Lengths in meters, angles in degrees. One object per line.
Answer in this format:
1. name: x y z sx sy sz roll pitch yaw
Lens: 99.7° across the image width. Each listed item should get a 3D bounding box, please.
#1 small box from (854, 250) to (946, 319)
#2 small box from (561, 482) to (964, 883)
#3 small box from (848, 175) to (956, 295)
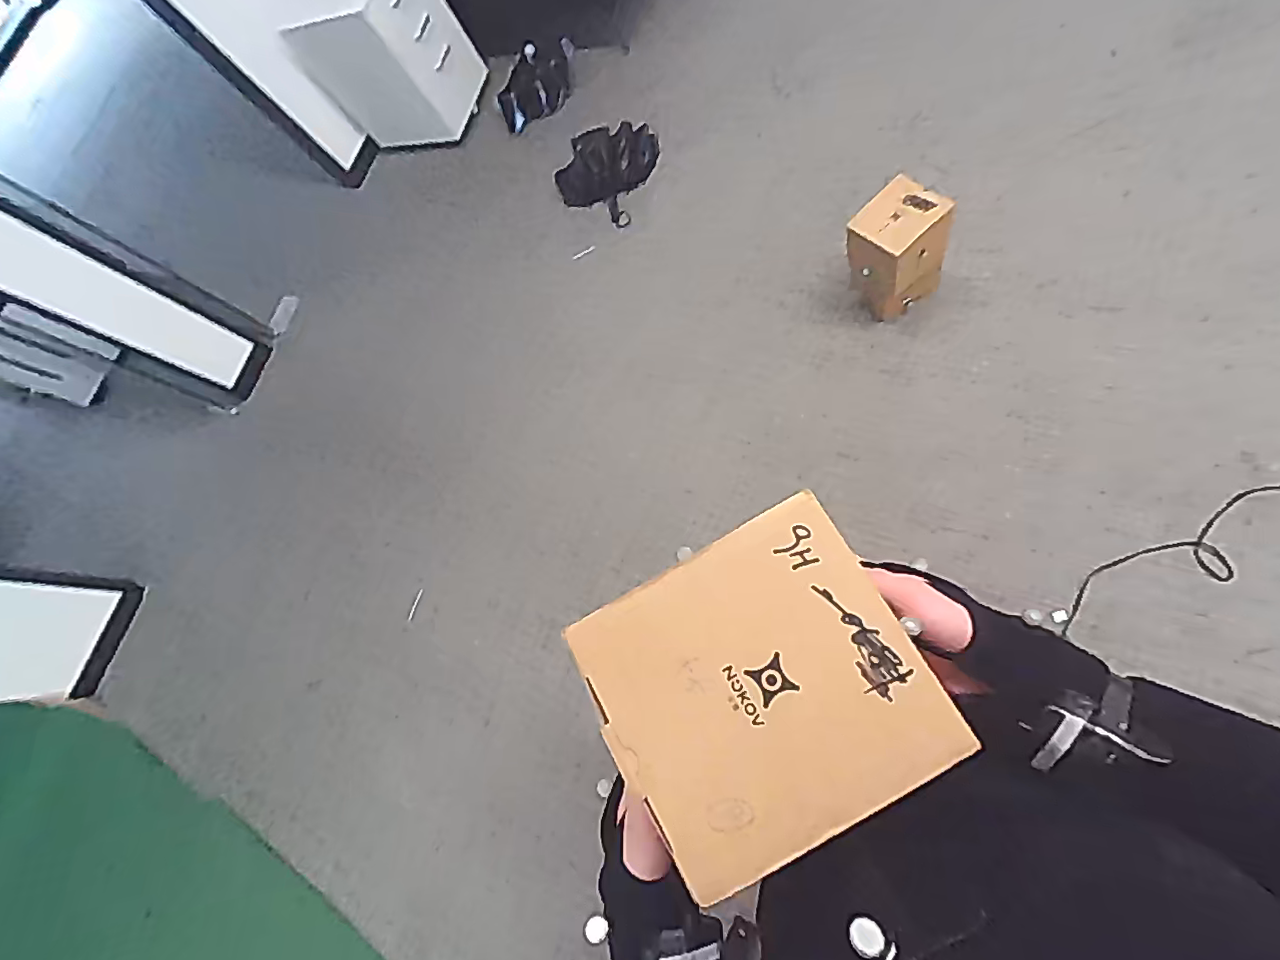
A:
1. small box: 0.710 -0.585 1.502 0.168 0.176 0.179 -31 65 11
2. small box: 0.074 0.125 0.386 0.179 0.176 0.168 -29 77 2
3. small box: 0.644 -0.605 1.350 0.179 0.176 0.168 -43 62 6
